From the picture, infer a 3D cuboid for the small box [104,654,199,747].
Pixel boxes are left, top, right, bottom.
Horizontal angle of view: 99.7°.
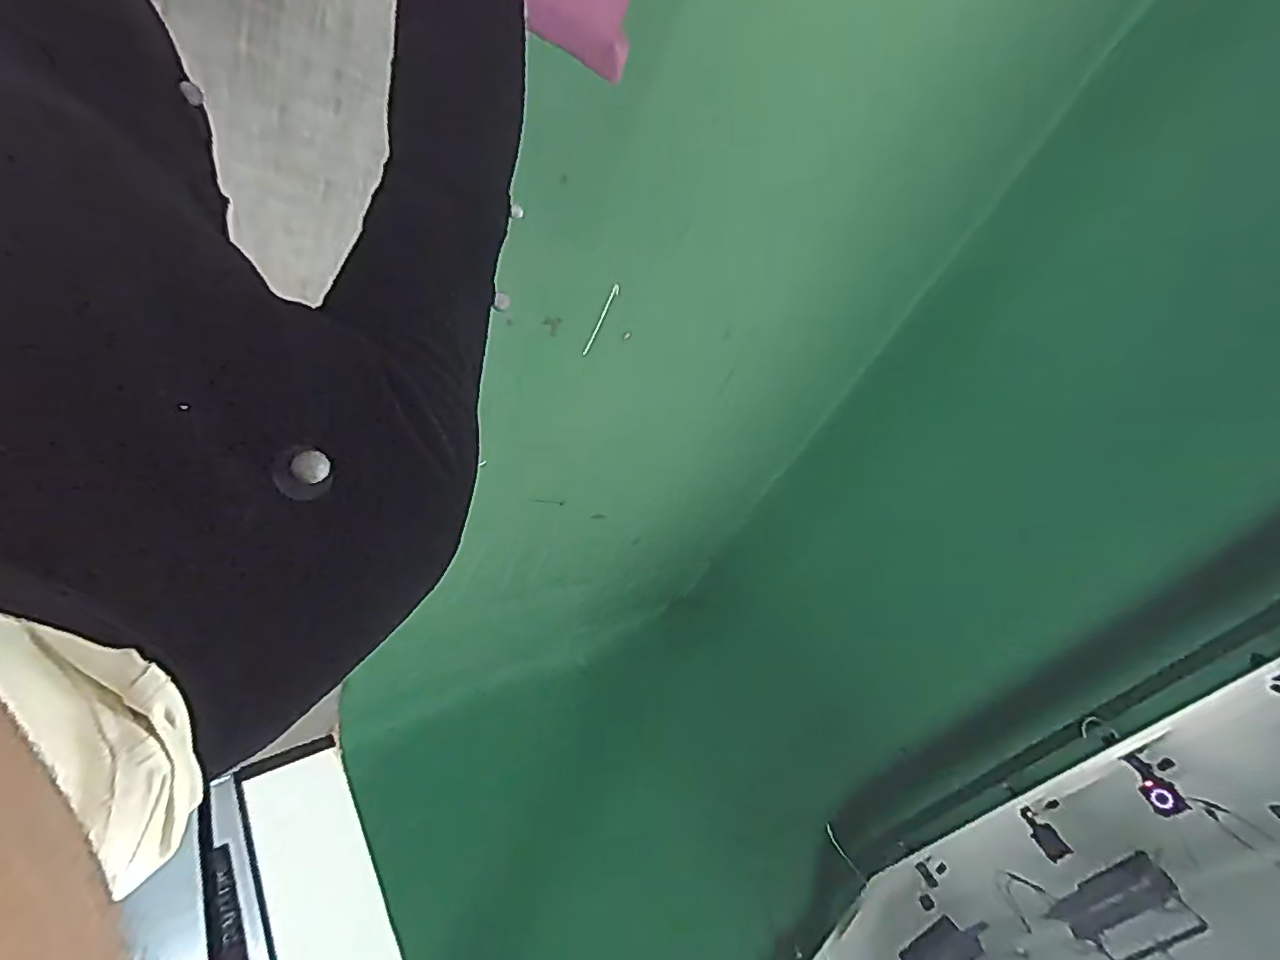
[{"bbox_3d":[-1.437,0.637,1.587,0.179,0.176,0.168,2,131,-51],"label":"small box"}]
